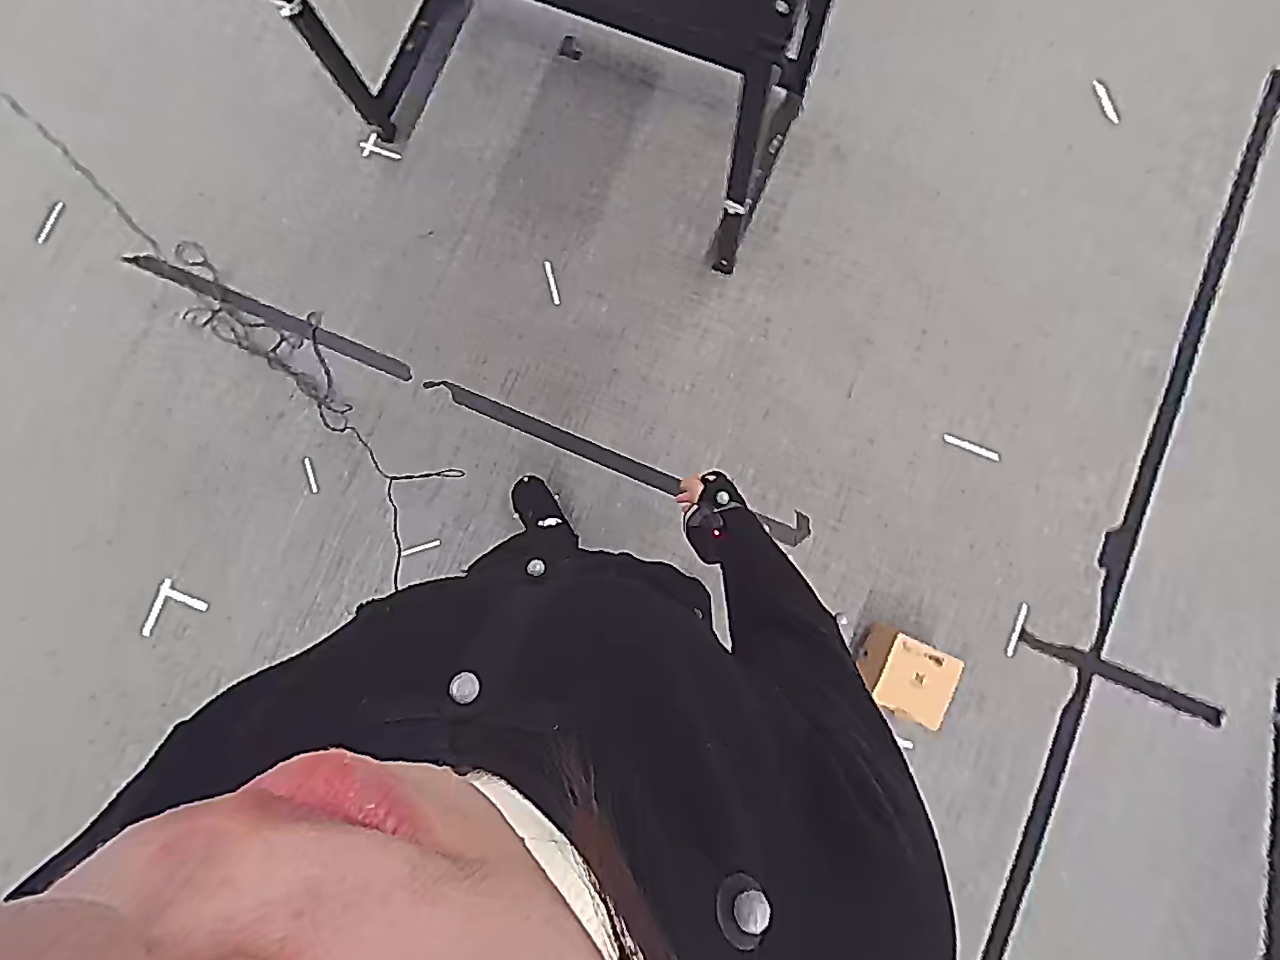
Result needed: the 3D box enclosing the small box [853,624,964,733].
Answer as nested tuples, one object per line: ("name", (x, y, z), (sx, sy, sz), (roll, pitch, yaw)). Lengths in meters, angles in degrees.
("small box", (0.654, 0.485, 1.346), (0.168, 0.176, 0.179), (25, 88, 5))
